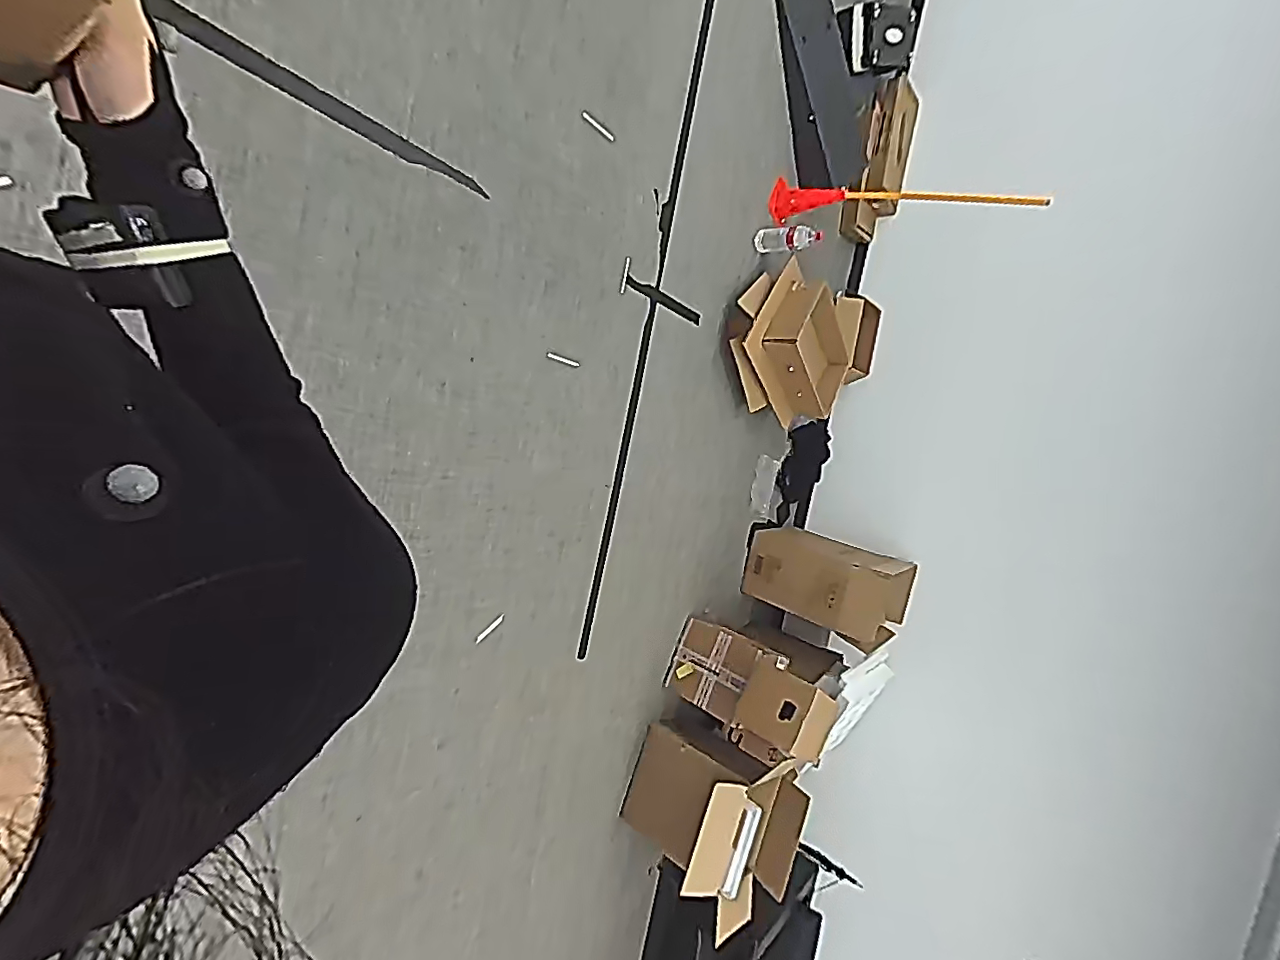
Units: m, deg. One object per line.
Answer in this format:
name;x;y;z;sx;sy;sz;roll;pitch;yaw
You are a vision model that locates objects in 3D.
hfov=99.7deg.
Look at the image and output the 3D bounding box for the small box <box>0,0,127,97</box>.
small box;-0.337;-0.295;0.212;0.168;0.176;0.179;-9;104;-55
